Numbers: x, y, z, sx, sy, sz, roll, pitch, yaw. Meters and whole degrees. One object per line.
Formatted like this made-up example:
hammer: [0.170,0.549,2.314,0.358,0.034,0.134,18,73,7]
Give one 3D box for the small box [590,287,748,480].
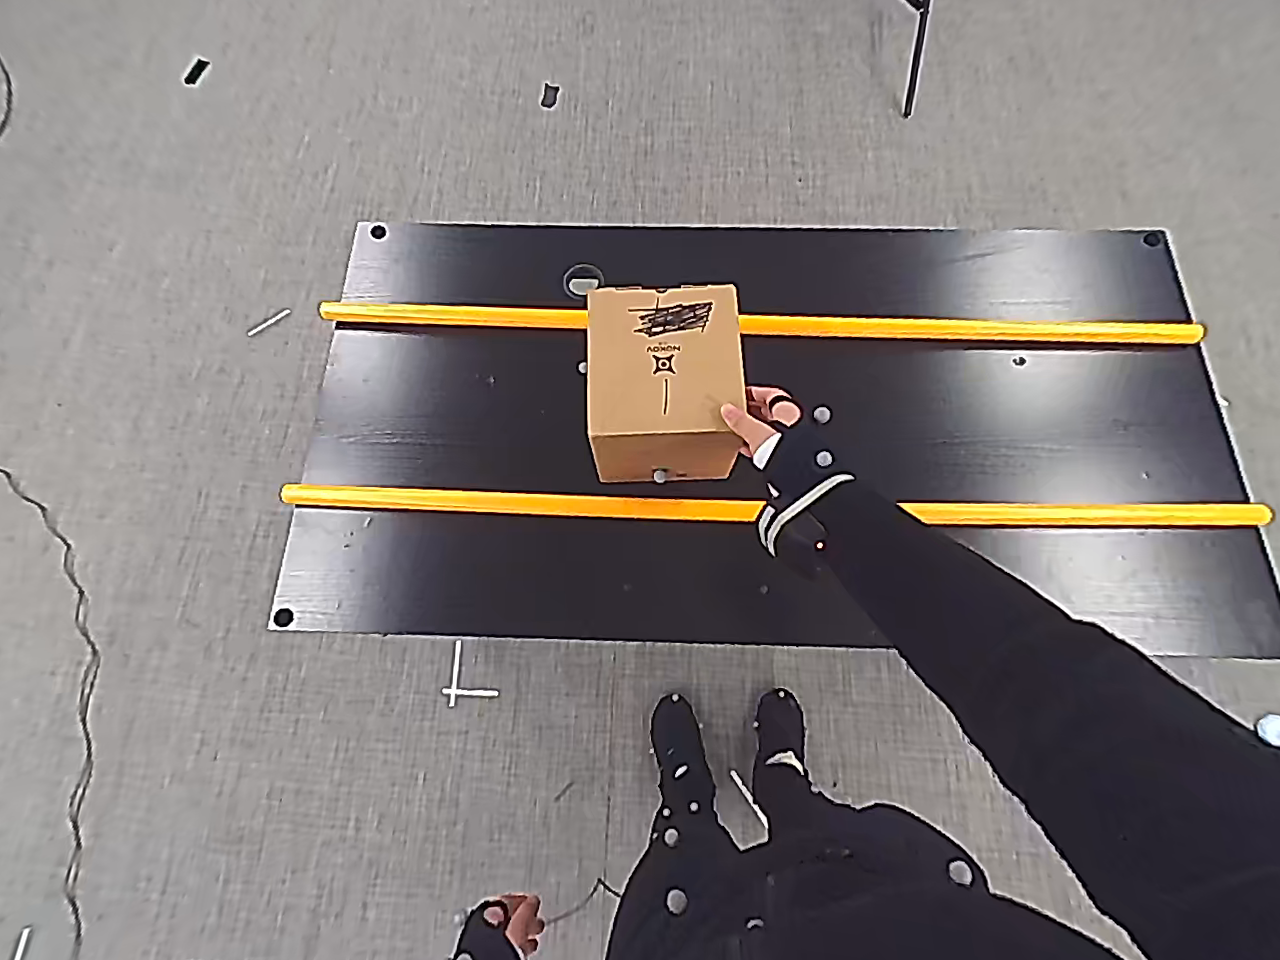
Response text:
small box: [0.029,-0.108,0.656,0.168,0.176,0.179,-2,74,1]
